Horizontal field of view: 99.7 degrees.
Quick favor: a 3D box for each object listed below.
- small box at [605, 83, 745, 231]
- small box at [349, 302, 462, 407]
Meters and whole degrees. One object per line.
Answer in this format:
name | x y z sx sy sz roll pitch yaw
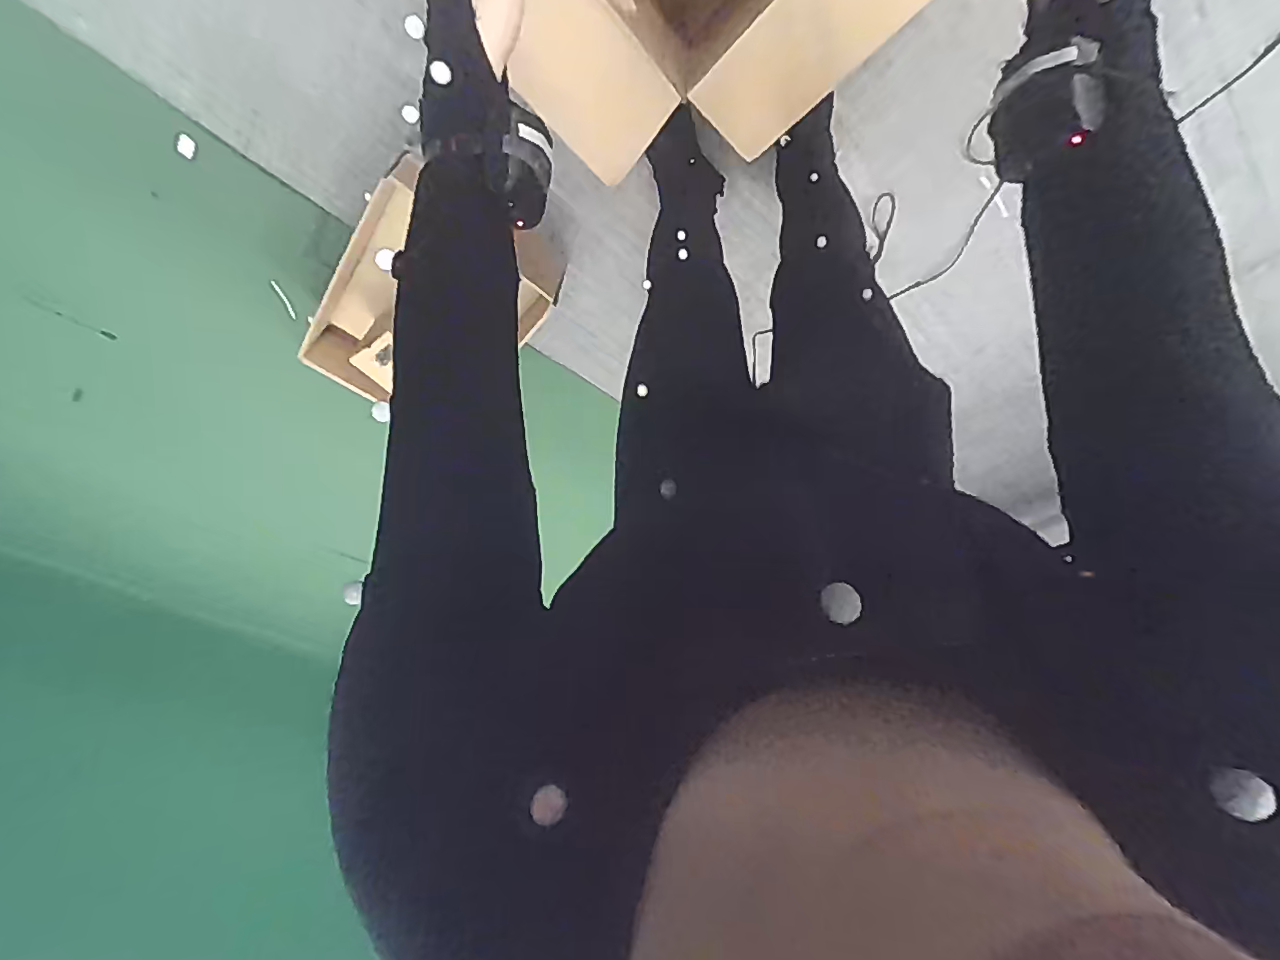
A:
small box | 0.068 -0.596 1.009 0.176 0.168 0.179 1 124 -39
small box | -0.589 -0.325 1.376 0.168 0.176 0.179 -20 133 28
